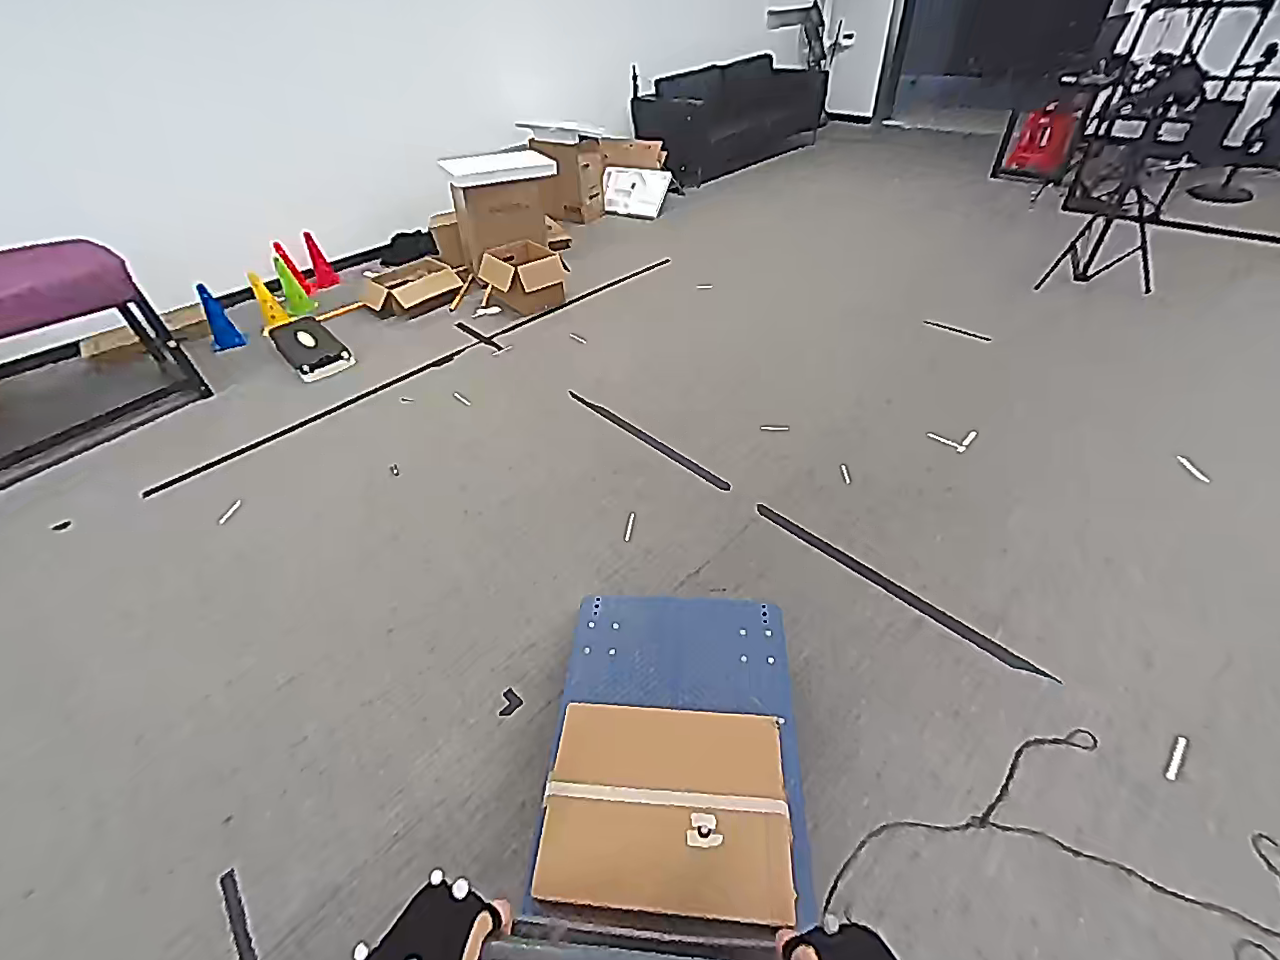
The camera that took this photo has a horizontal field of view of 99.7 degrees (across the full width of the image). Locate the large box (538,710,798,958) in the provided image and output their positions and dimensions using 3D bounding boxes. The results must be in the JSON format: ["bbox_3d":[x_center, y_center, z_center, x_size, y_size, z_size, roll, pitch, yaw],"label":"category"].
[{"bbox_3d":[0.054,0.664,1.022,0.408,0.320,0.320,2,43,5],"label":"large box"}]
